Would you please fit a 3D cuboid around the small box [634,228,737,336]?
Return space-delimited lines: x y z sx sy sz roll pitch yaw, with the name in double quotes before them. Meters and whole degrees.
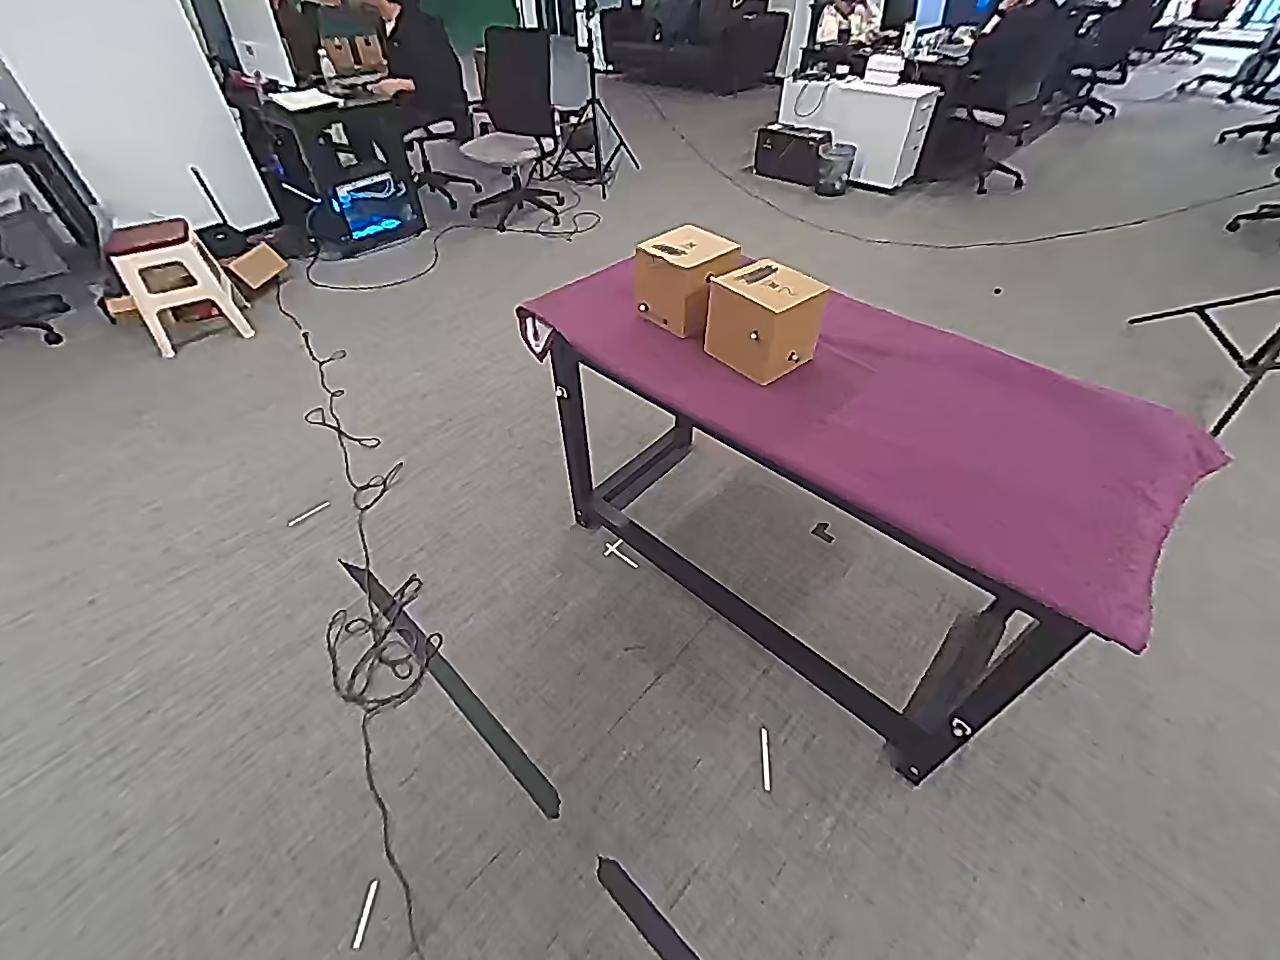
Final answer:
"small box" 0.106 -0.463 1.269 0.179 0.176 0.168 -33 54 -27
